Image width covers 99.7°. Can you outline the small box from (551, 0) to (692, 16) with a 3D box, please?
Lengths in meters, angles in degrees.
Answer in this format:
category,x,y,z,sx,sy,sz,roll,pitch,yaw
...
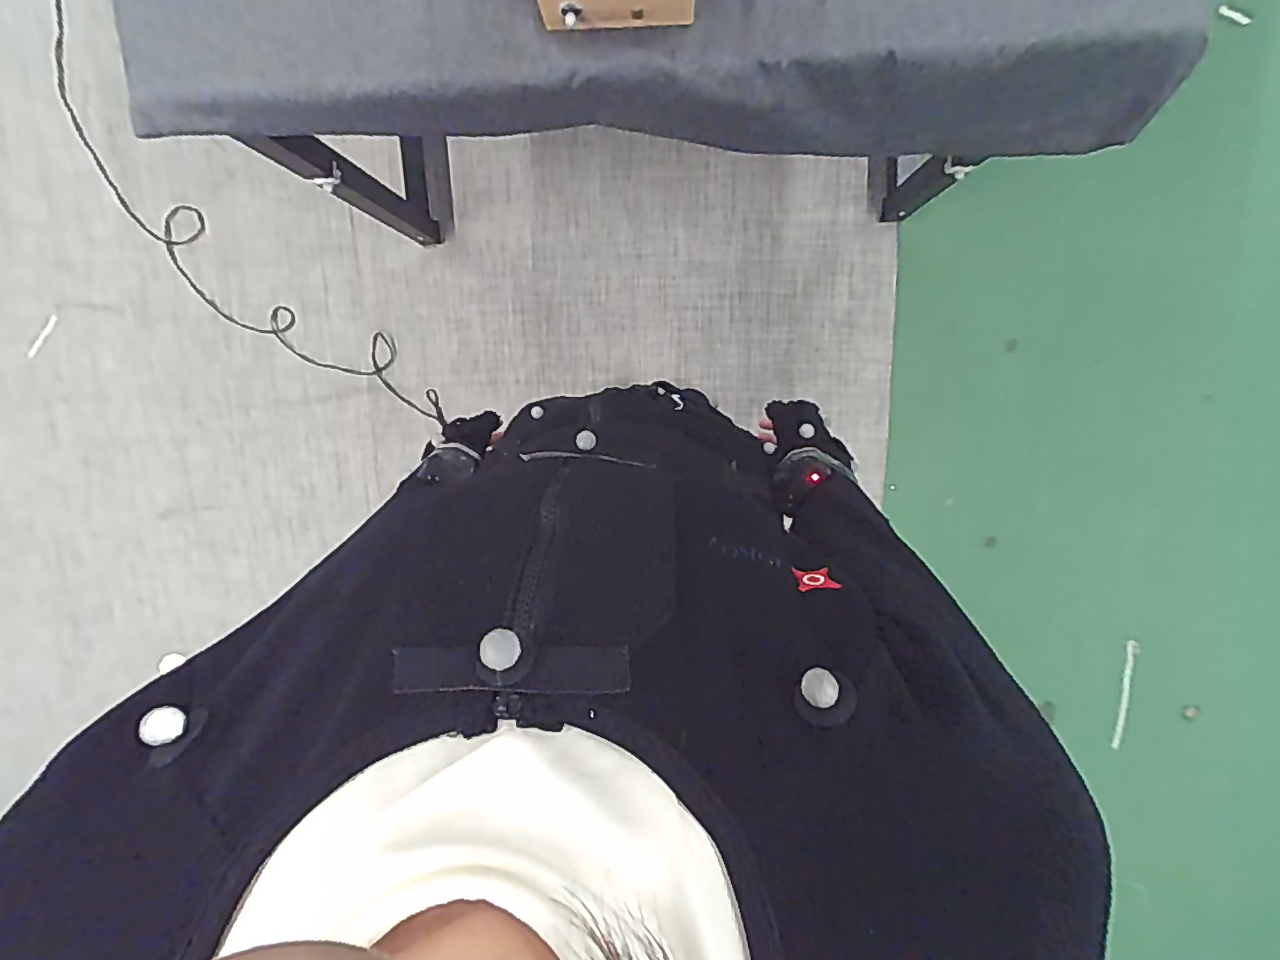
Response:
category,x,y,z,sx,sy,sz,roll,pitch,yaw
small box,-0.027,-0.592,0.520,0.168,0.176,0.179,0,98,3
